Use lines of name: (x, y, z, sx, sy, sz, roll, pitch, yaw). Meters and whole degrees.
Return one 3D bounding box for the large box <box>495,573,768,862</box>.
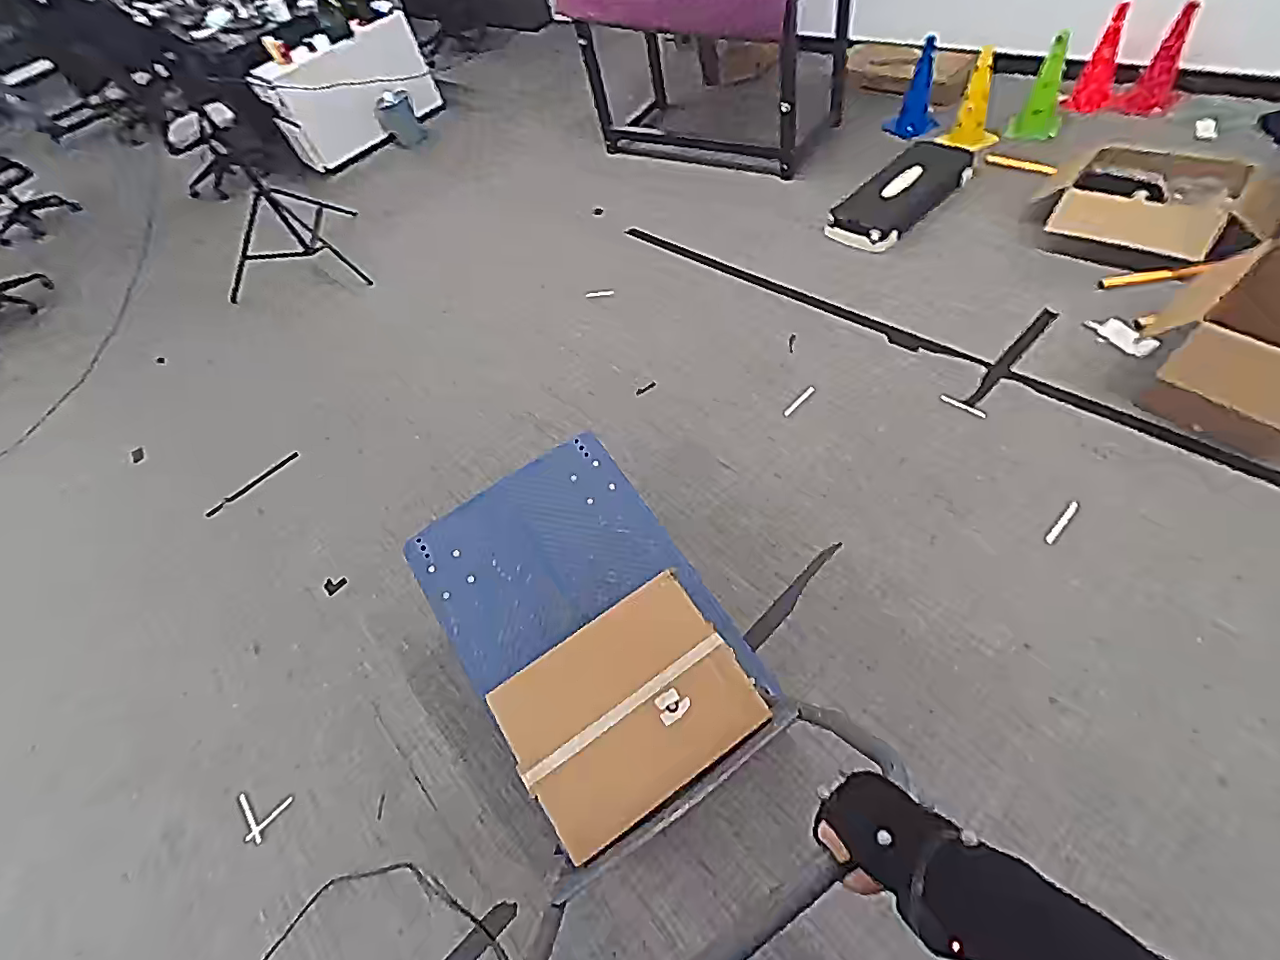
large box: (-0.014, 0.458, 1.100, 0.408, 0.320, 0.320, -33, 72, -11)
